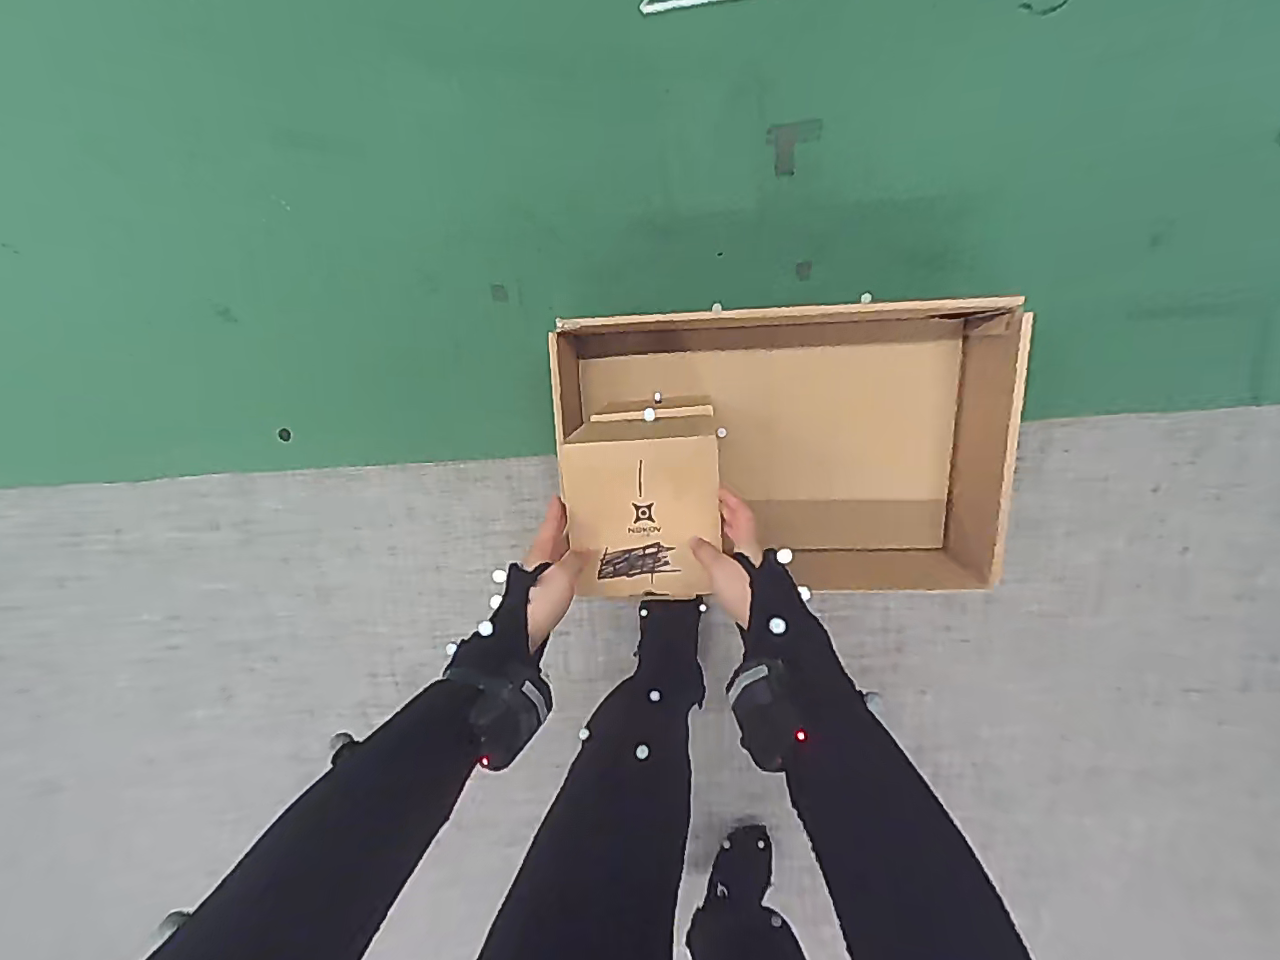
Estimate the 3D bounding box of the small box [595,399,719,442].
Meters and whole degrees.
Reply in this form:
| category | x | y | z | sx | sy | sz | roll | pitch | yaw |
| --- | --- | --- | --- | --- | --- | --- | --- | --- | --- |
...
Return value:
| category | x | y | z | sx | sy | sz | roll | pitch | yaw |
| --- | --- | --- | --- | --- | --- | --- | --- | --- | --- |
| small box | 0.031 | -0.026 | 0.804 | 0.168 | 0.176 | 0.179 | -4 | 103 | 6 |

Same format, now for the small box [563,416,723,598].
| category | x | y | z | sx | sy | sz | roll | pitch | yaw |
| --- | --- | --- | --- | --- | --- | --- | --- | --- | --- |
| small box | 0.012 | 0.024 | 0.647 | 0.168 | 0.176 | 0.179 | -3 | 103 | 5 |
